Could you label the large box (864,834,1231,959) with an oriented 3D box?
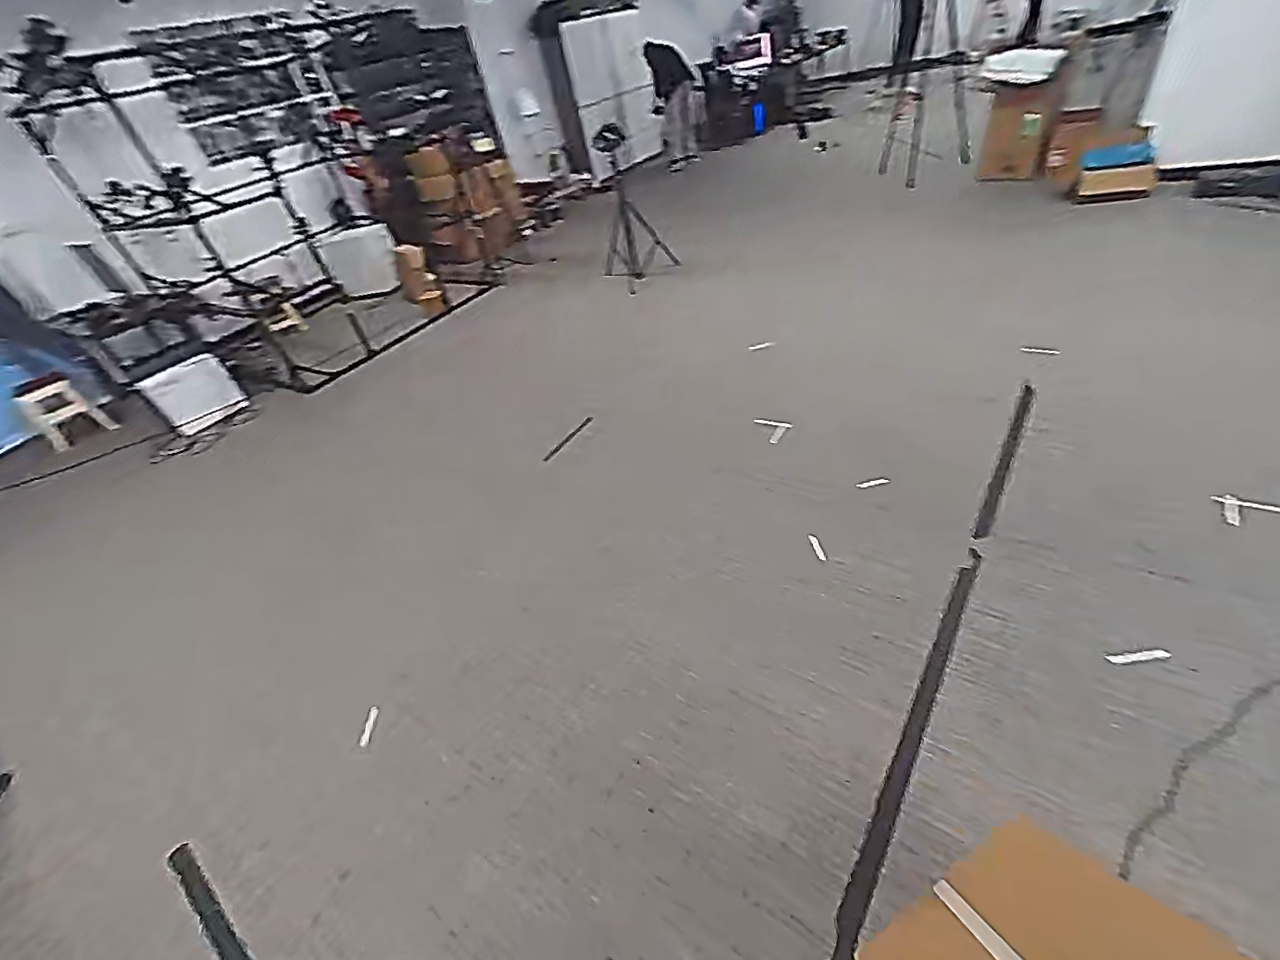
[{"bbox_3d":[0.497,0.658,0.527,0.320,0.408,0.320,-35,78,-4],"label":"large box"}]
